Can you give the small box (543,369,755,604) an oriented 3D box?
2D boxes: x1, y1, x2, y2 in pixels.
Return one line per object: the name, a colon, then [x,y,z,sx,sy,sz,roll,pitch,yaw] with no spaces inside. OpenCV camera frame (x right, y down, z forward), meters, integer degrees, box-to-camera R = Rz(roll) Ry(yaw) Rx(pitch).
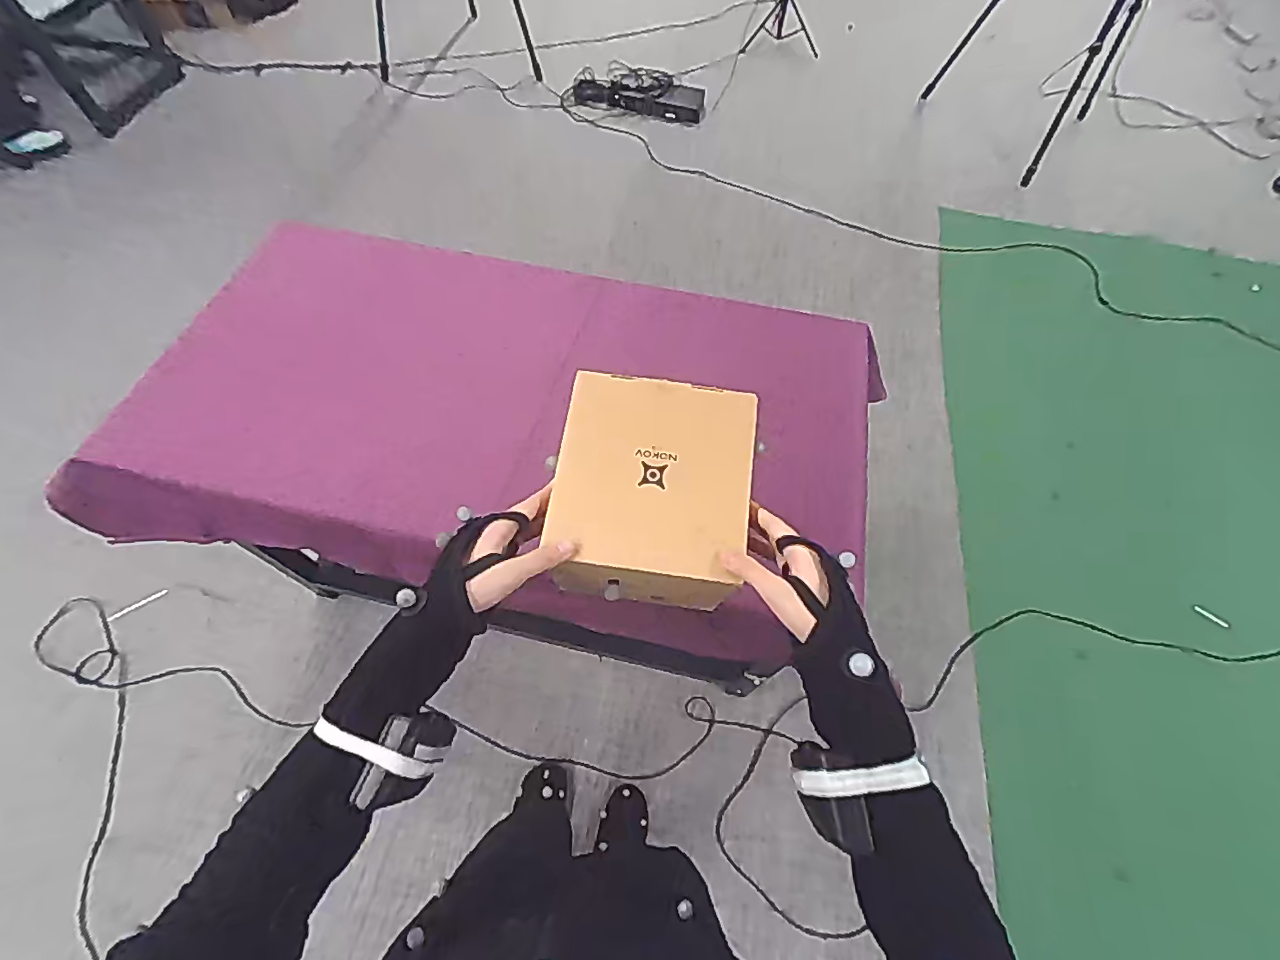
small box: [0.012,0.018,0.539,0.168,0.176,0.179,8,67,1]
